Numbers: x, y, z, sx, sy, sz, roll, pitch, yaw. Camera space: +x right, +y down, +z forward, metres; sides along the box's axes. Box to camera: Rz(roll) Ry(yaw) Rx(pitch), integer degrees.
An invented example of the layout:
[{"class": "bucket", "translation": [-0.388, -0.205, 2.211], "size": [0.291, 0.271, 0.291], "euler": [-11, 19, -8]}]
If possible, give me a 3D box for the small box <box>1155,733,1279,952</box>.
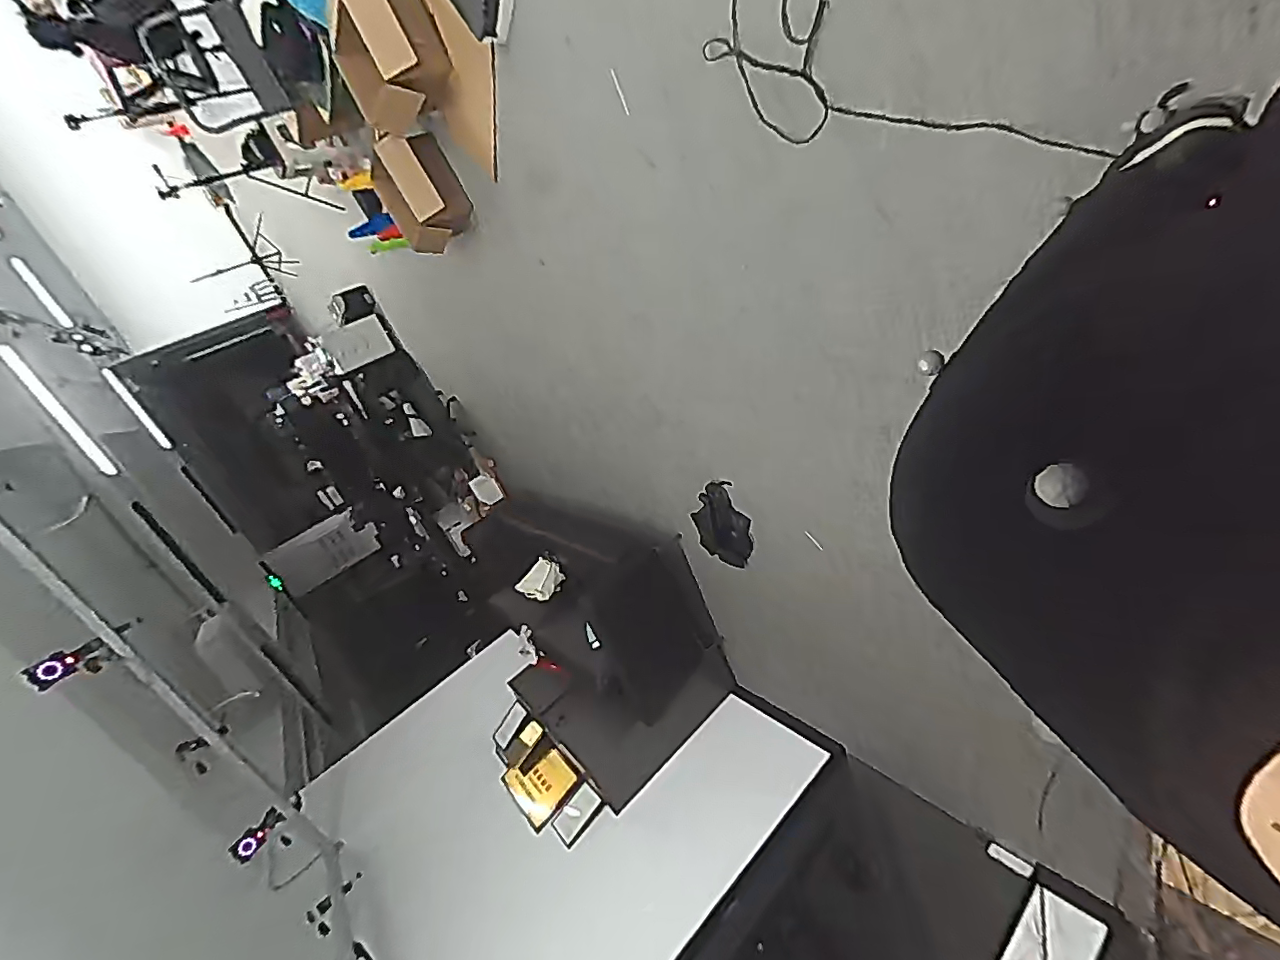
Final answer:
[{"class": "small box", "translation": [0.821, 0.481, 0.719], "size": [0.168, 0.176, 0.179], "euler": [13, 132, 54]}]
